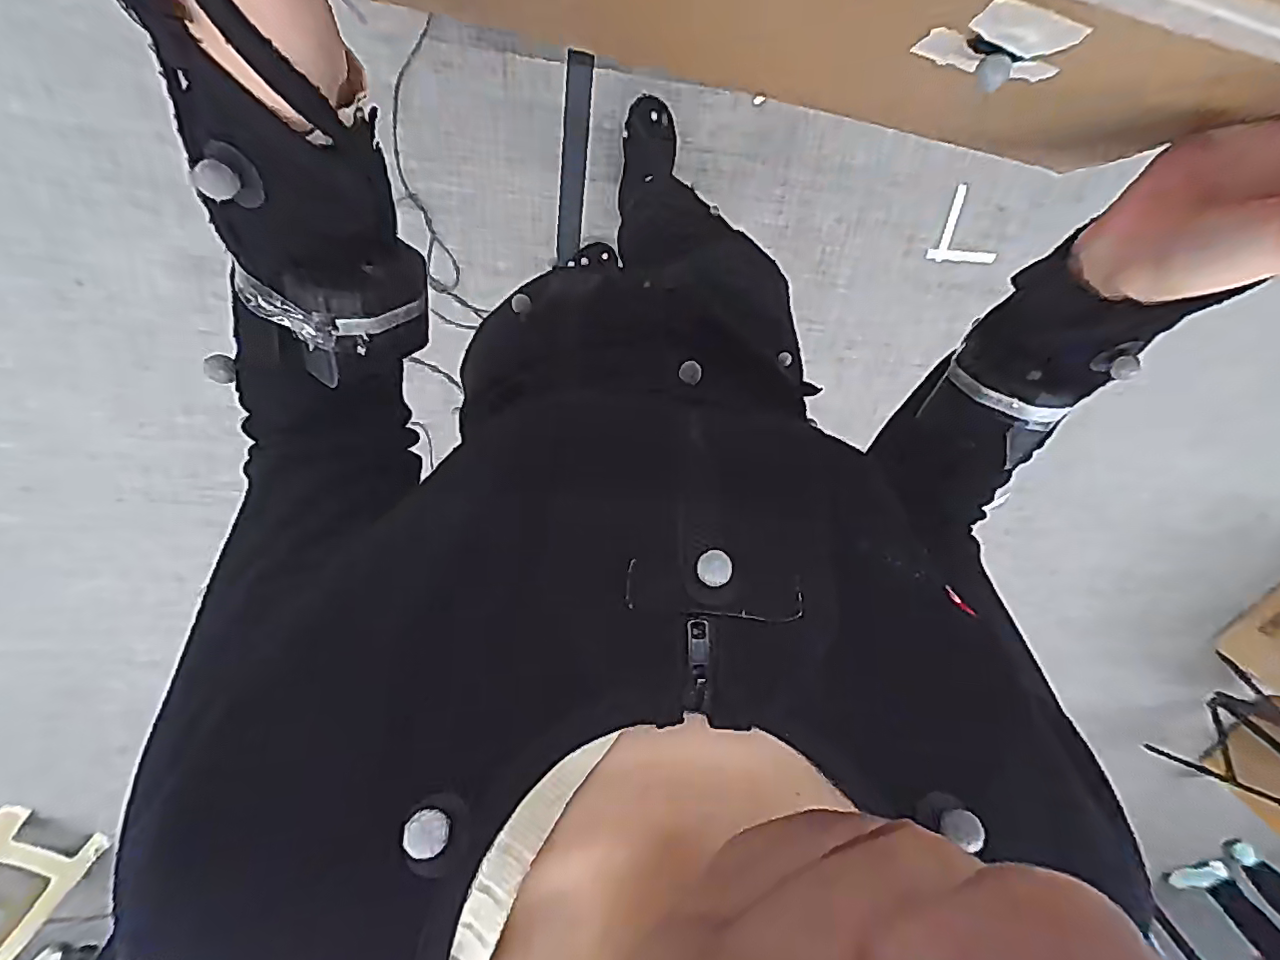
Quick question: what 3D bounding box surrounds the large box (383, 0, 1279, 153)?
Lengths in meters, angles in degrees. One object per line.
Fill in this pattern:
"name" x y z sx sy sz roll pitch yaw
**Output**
"large box" 0.100 -0.318 0.116 0.408 0.320 0.320 6 108 -9
